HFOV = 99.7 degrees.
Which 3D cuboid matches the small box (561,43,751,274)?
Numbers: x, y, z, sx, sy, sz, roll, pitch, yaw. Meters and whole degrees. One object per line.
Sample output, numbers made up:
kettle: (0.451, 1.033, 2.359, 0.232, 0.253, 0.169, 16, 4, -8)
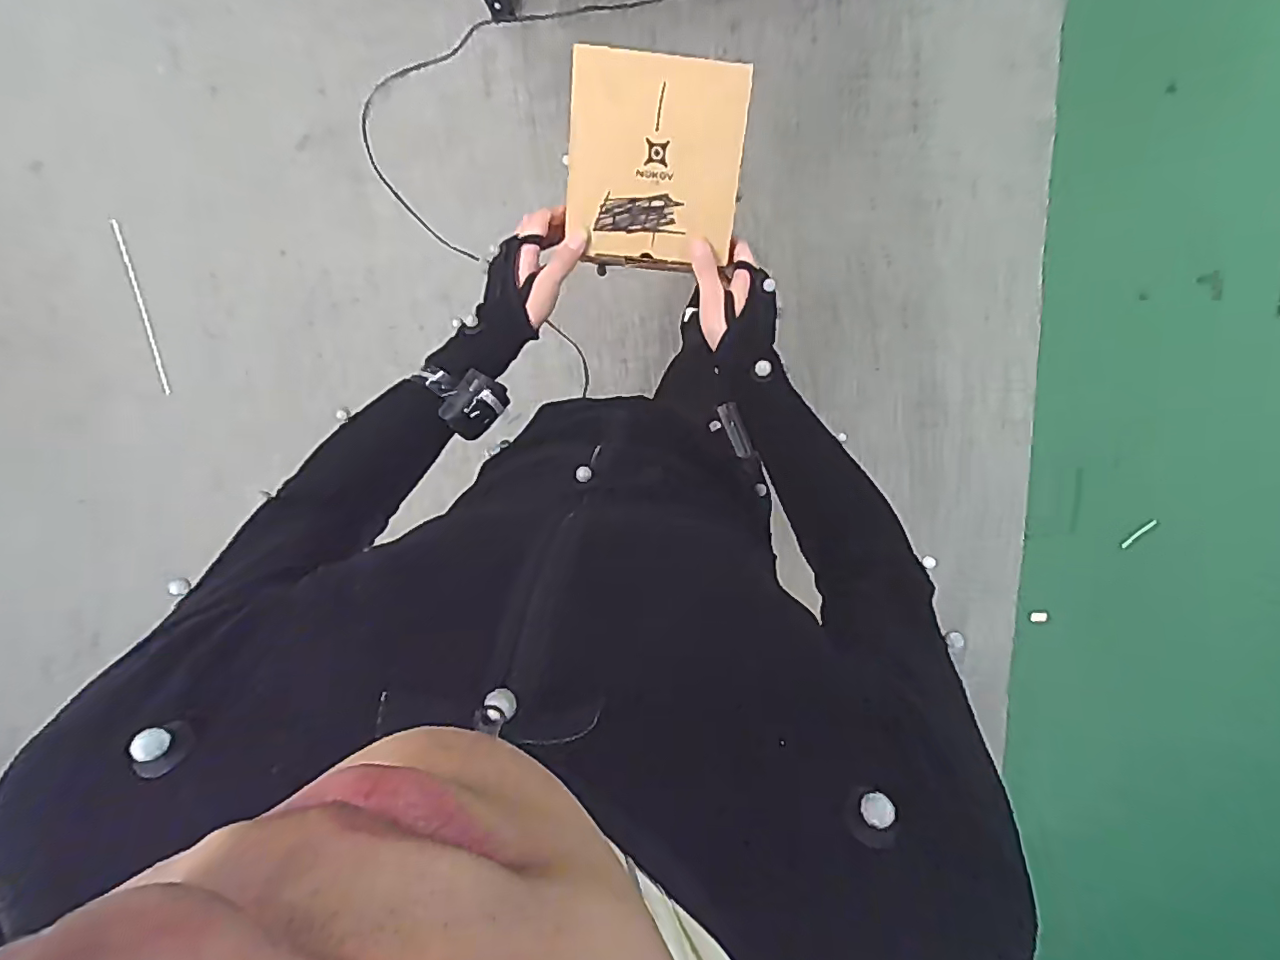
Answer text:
small box: (0.010, -0.326, 0.588, 0.168, 0.176, 0.179, 5, 108, -4)
